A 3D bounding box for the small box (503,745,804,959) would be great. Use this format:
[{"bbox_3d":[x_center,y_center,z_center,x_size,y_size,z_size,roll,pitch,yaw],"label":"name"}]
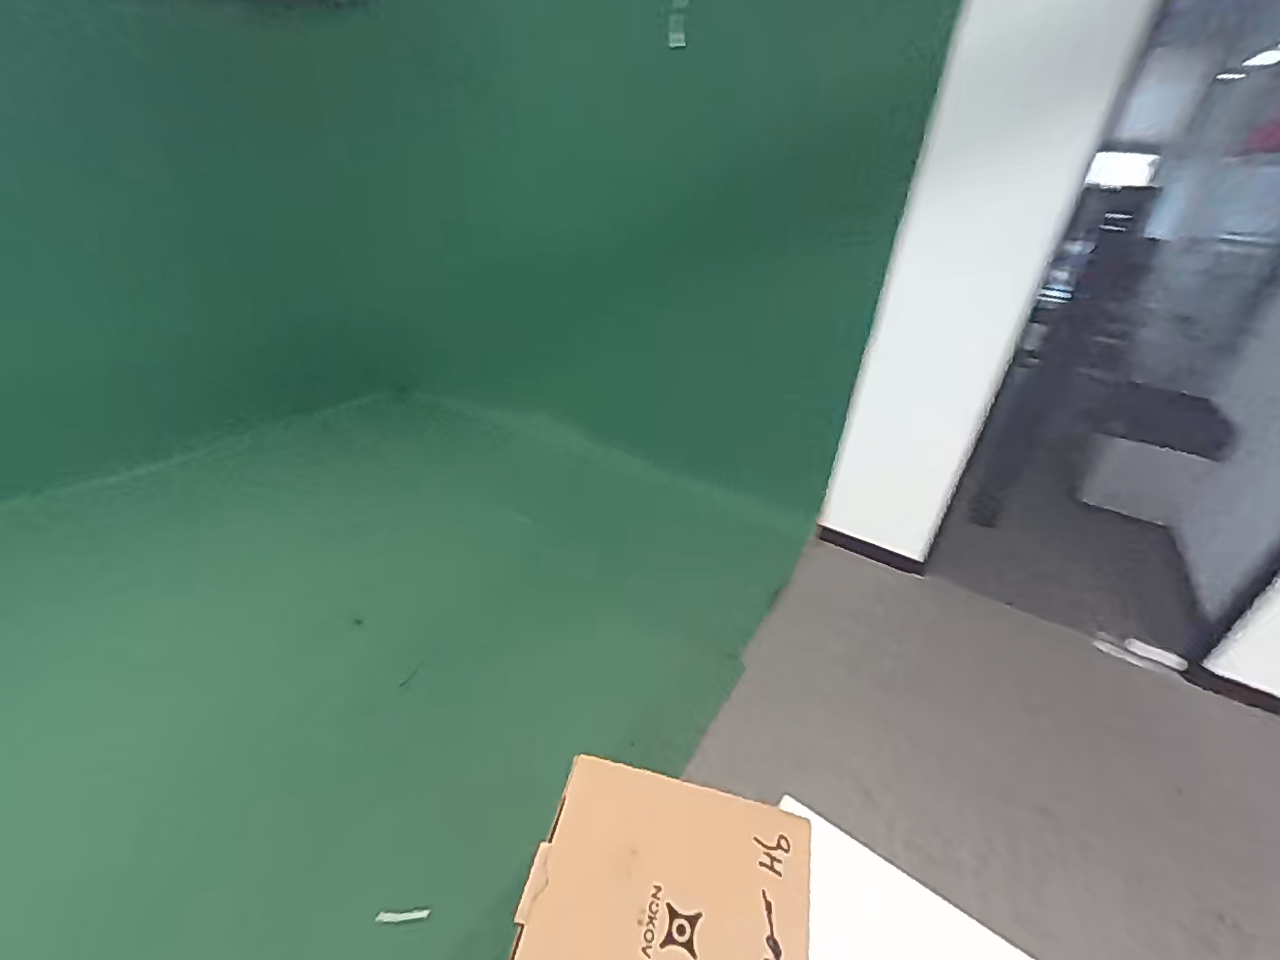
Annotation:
[{"bbox_3d":[0.012,0.328,0.395,0.179,0.176,0.168,11,43,8],"label":"small box"}]
